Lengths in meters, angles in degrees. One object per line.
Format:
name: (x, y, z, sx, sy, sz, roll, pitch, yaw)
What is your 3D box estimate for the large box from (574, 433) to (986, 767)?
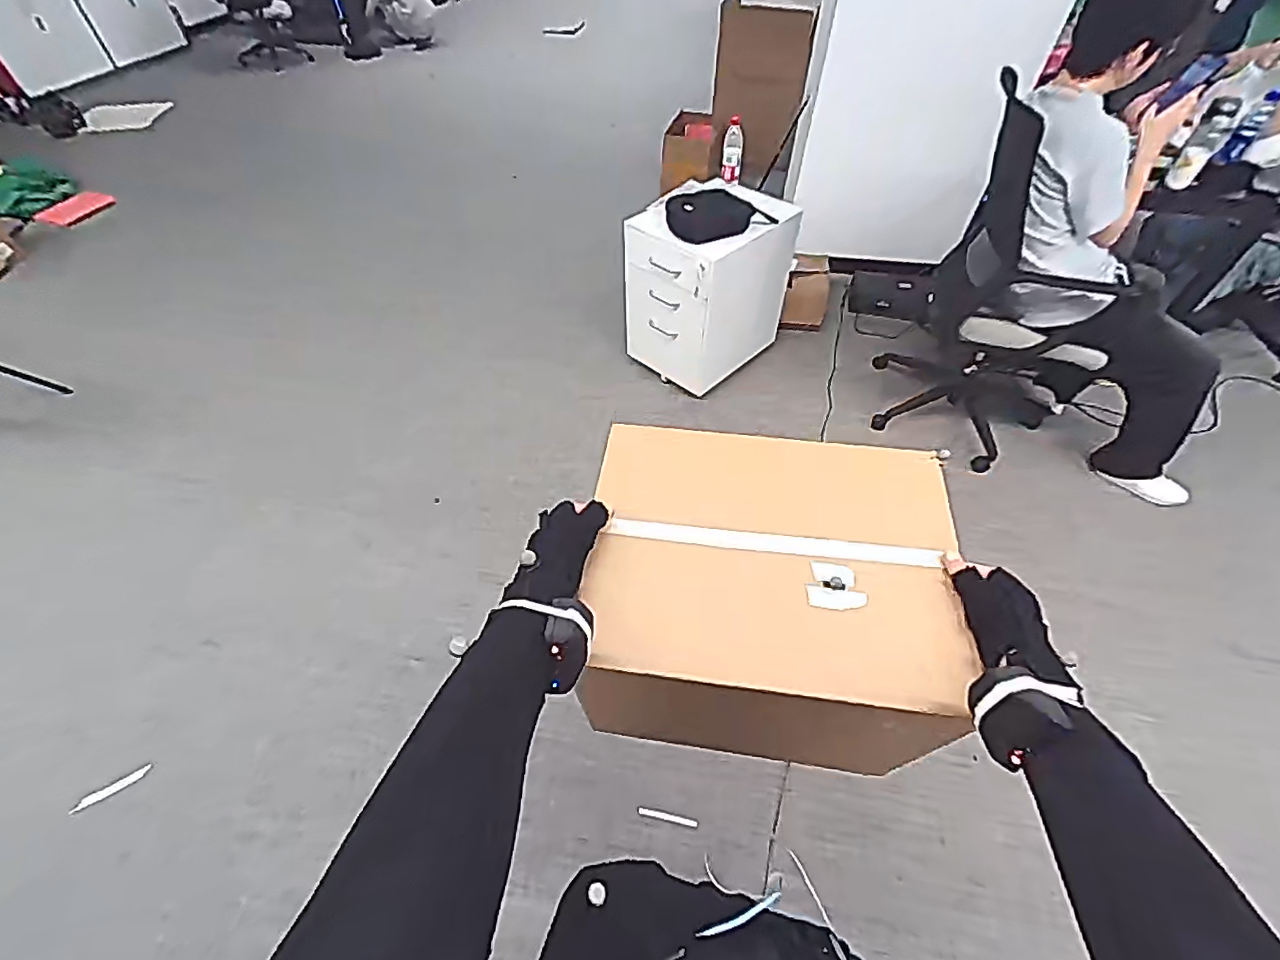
large box: (0.151, 0.165, 0.727, 0.408, 0.320, 0.320, 6, 55, 7)
